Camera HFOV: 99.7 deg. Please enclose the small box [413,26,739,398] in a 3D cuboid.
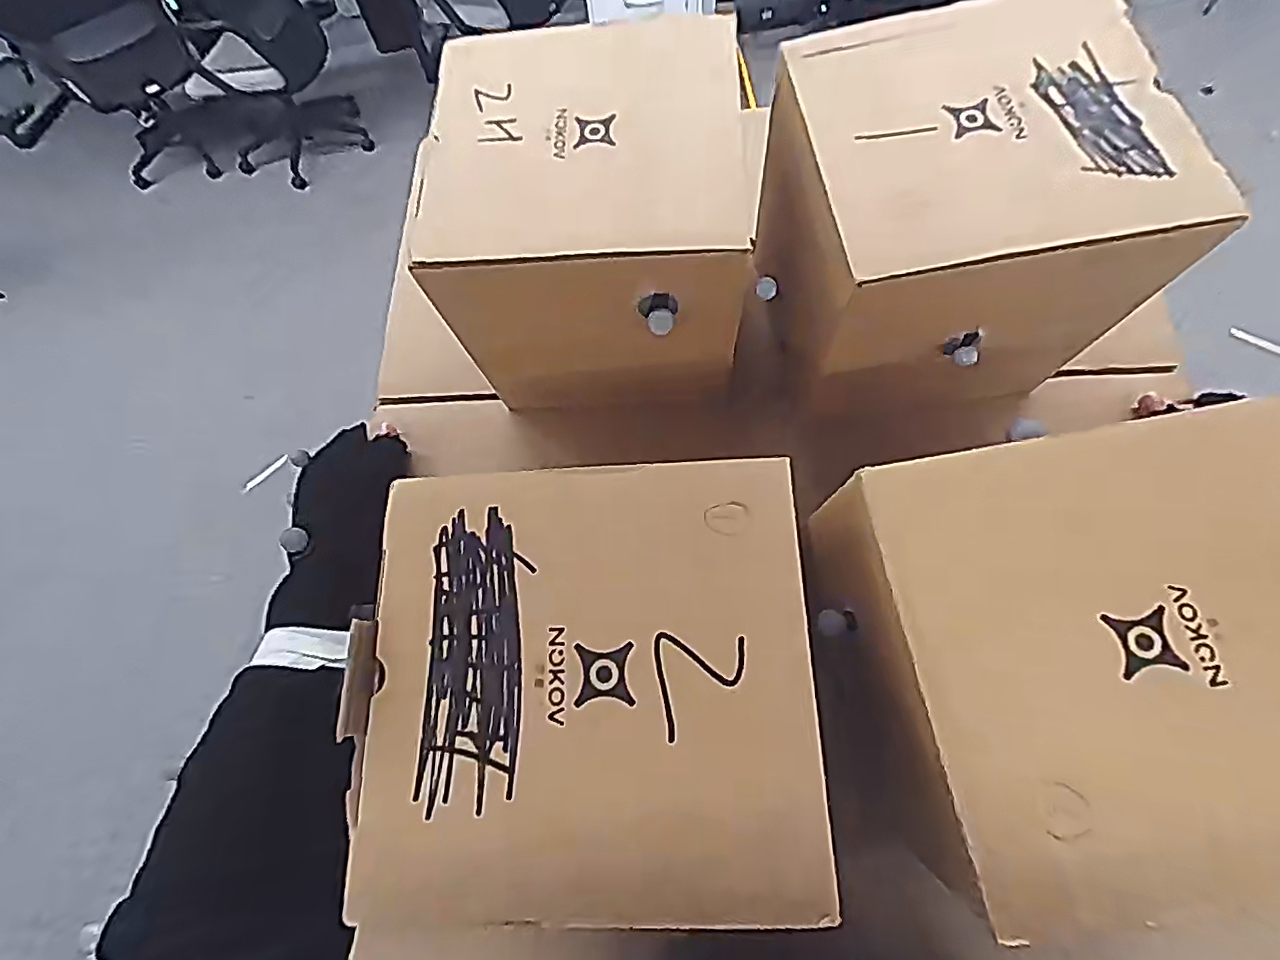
[{"bbox_3d":[-0.028,-0.168,0.382,0.179,0.176,0.168,-1,71,6],"label":"small box"}]
